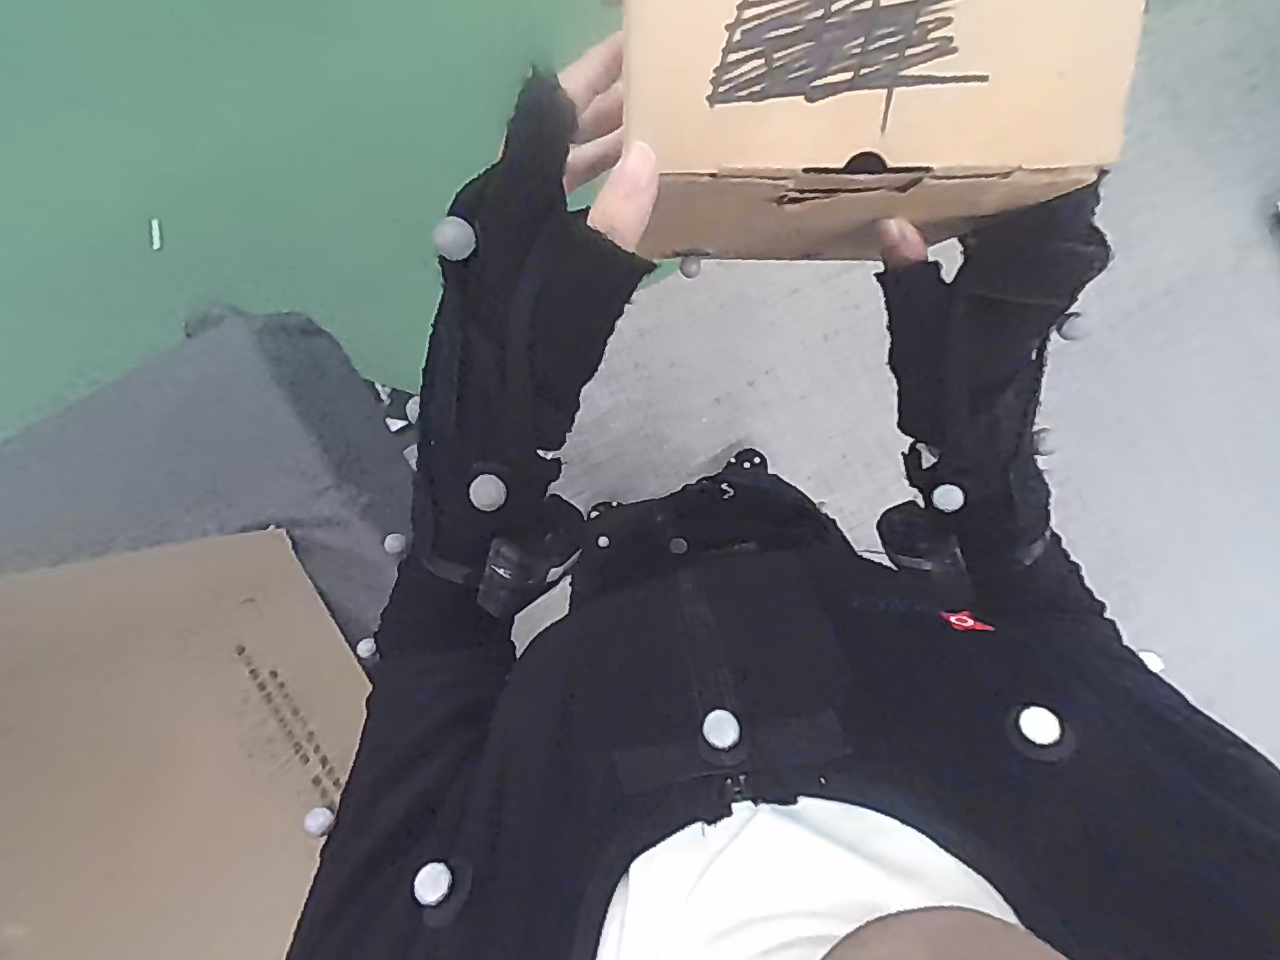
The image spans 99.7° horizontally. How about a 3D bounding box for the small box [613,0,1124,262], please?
[{"bbox_3d":[0.078,-0.204,0.249,0.168,0.176,0.179,1,102,2],"label":"small box"}]
